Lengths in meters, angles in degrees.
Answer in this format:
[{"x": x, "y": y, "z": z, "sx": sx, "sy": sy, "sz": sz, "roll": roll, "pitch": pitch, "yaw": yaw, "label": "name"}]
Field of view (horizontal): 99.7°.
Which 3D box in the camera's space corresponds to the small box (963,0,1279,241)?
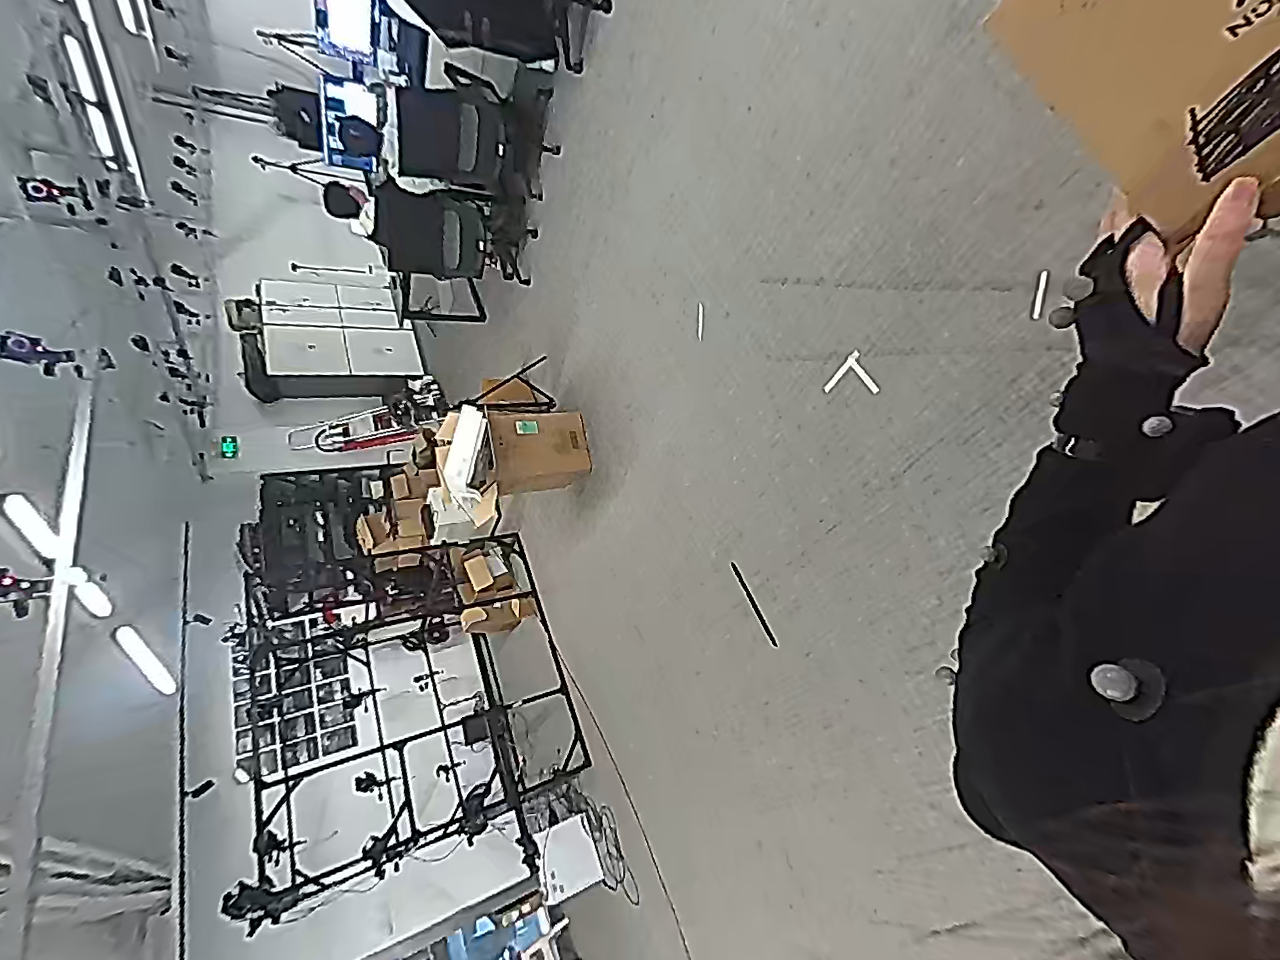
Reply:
[{"x": 0.325, "y": -0.272, "z": 0.281, "sx": 0.179, "sy": 0.176, "sz": 0.168, "roll": 50, "pitch": 151, "yaw": 1, "label": "small box"}]
